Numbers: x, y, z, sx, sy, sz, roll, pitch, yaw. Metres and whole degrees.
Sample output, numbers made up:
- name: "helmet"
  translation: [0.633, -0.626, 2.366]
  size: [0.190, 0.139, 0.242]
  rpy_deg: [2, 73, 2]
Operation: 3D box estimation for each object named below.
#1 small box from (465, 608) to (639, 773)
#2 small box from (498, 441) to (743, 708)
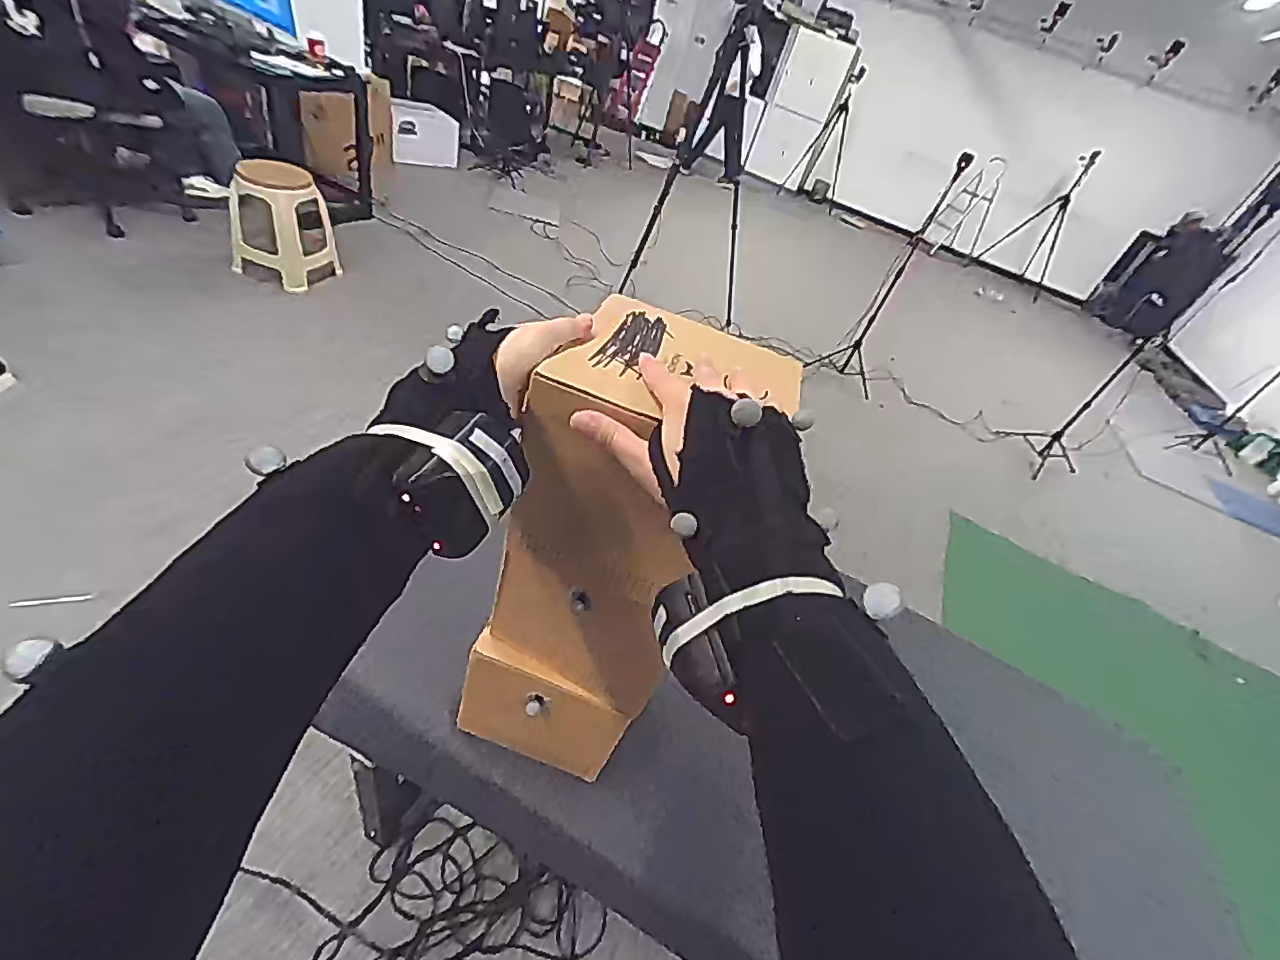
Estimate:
- name: "small box"
  translation: [-0.087, 0.215, 0.640]
  size: [0.179, 0.176, 0.168]
  rpy_deg: [21, 38, 2]
- name: "small box"
  translation: [-0.024, 0.095, 0.549]
  size: [0.179, 0.176, 0.168]
  rpy_deg: [28, 40, 8]
